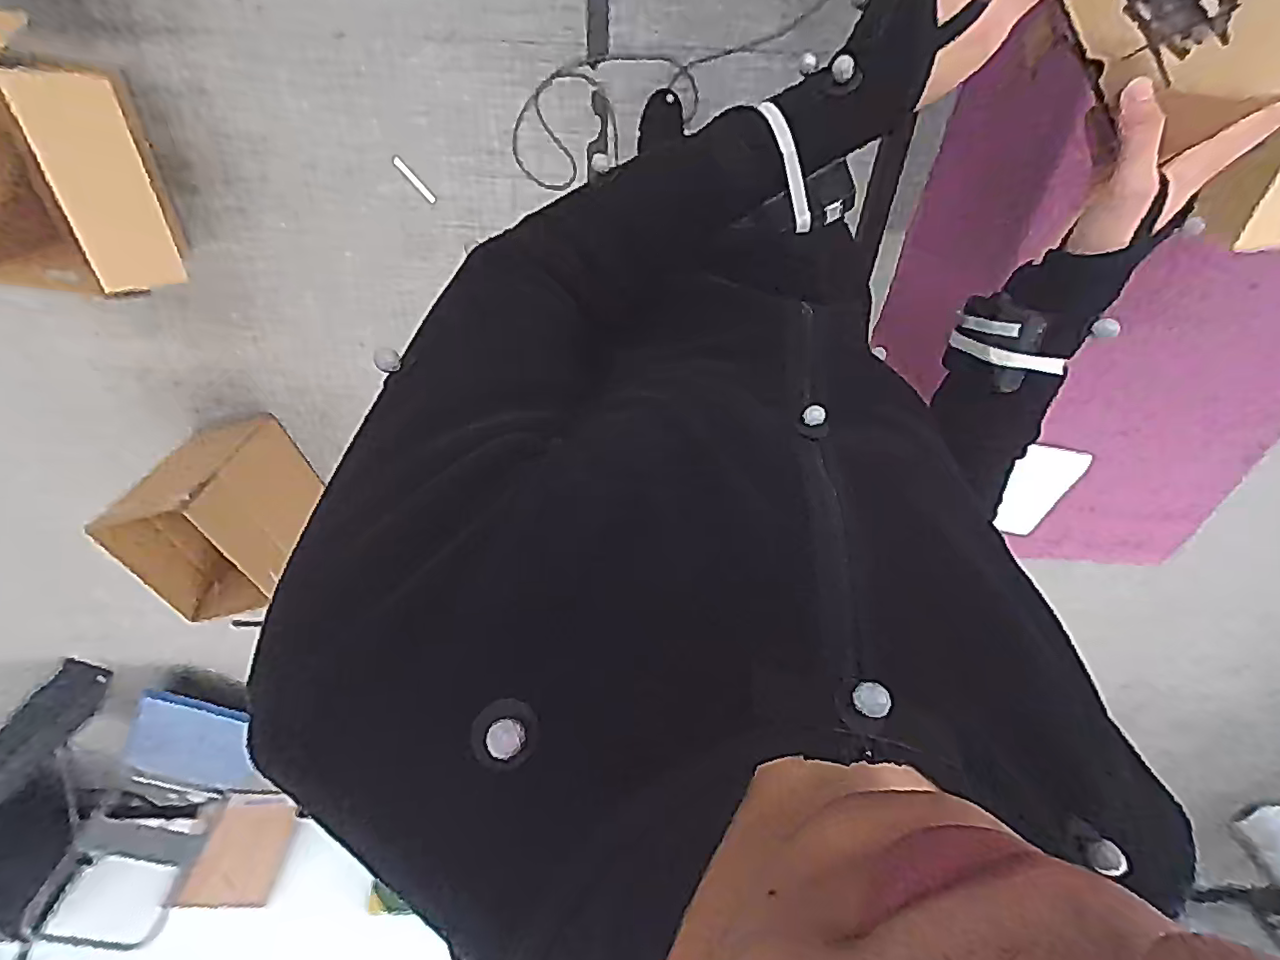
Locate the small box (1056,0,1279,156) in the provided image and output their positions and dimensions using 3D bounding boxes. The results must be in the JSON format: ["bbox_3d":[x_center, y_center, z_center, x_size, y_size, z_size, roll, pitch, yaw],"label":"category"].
[{"bbox_3d":[0.345,-0.342,0.304,0.168,0.176,0.179,35,145,-25],"label":"small box"}]
